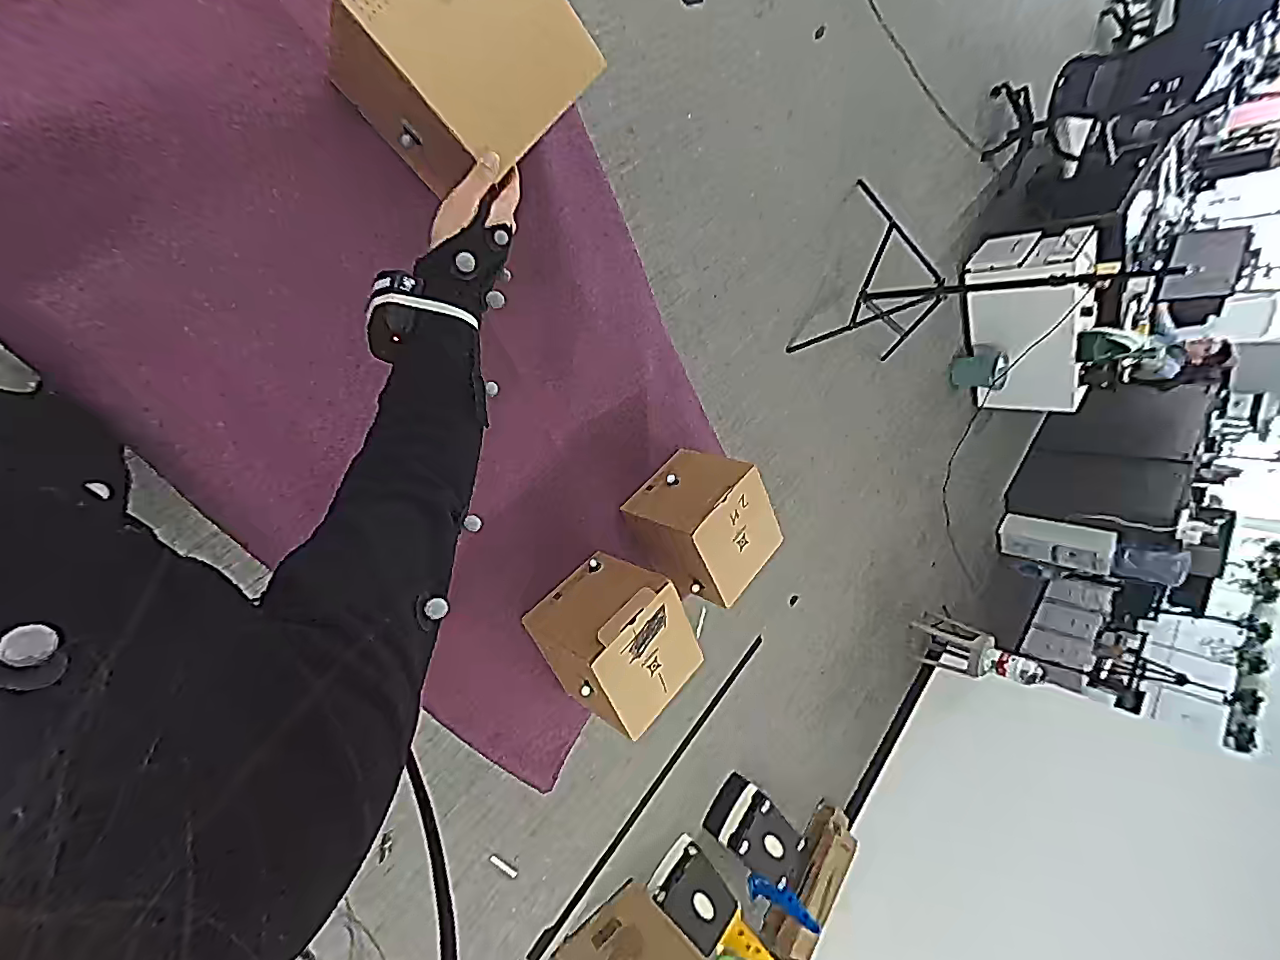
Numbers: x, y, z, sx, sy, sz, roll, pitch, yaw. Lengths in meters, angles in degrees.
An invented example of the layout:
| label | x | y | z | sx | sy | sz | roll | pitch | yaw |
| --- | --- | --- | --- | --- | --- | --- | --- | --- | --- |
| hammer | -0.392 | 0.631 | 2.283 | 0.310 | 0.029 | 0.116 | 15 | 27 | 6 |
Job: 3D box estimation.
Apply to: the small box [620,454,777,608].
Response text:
| label | x | y | z | sx | sy | sz | roll | pitch | yaw |
| --- | --- | --- | --- | --- | --- | --- | --- | --- | --- |
| small box | 0.098 | 0.076 | 0.908 | 0.168 | 0.176 | 0.179 | -44 | 126 | -25 |

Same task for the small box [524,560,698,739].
| label | x | y | z | sx | sy | sz | roll | pitch | yaw |
| --- | --- | --- | --- | --- | --- | --- | --- | --- | --- |
| small box | -0.045 | 0.240 | 0.816 | 0.168 | 0.176 | 0.179 | -40 | 123 | -30 |
